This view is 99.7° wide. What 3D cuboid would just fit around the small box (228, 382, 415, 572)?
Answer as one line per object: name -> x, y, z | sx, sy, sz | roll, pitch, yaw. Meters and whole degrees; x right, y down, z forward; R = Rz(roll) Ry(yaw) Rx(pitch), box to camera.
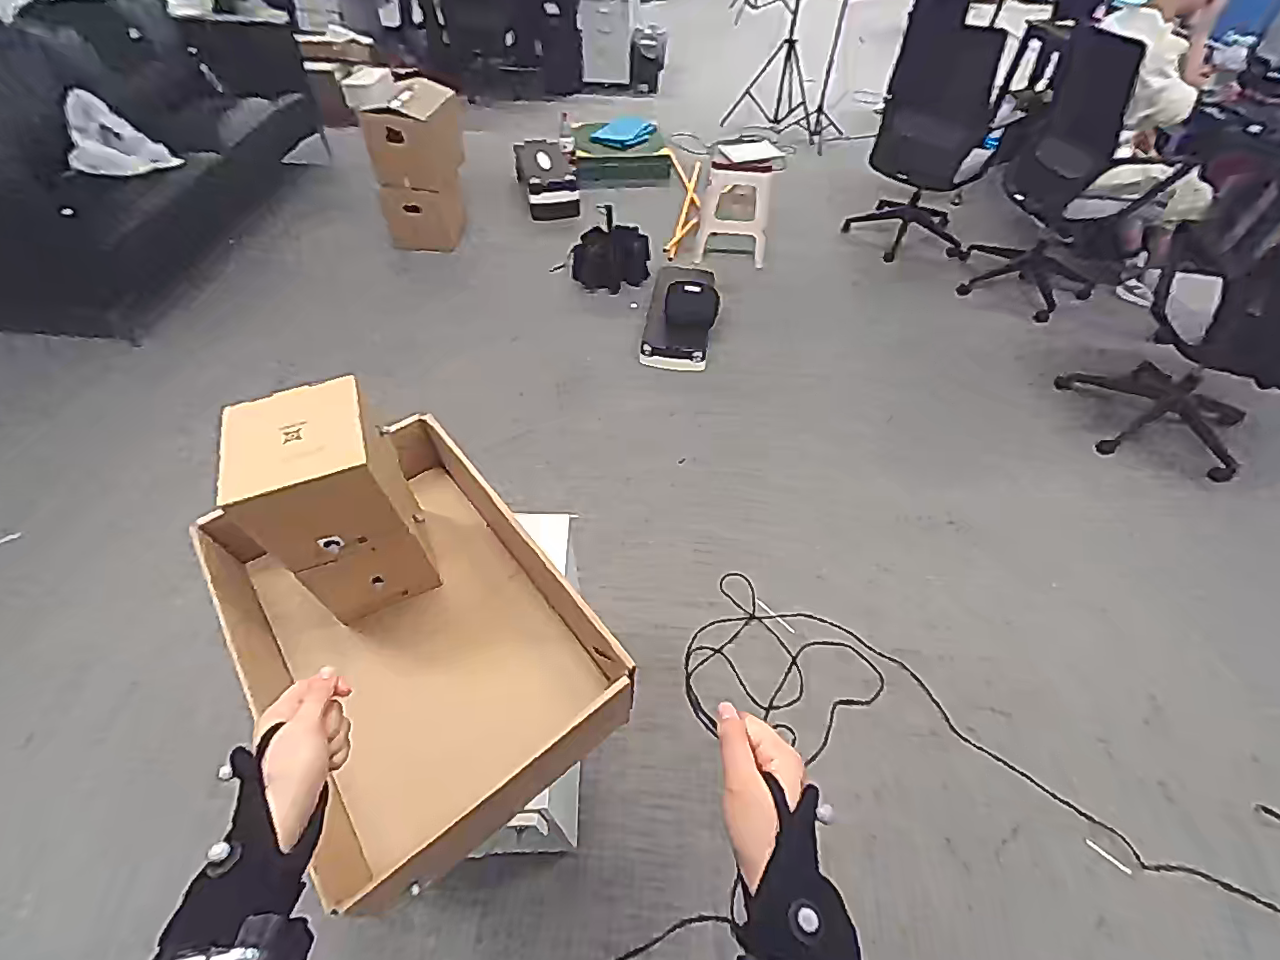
small box -> -0.434, -0.003, 0.756 | 0.168, 0.176, 0.179 | -20, 55, -13
